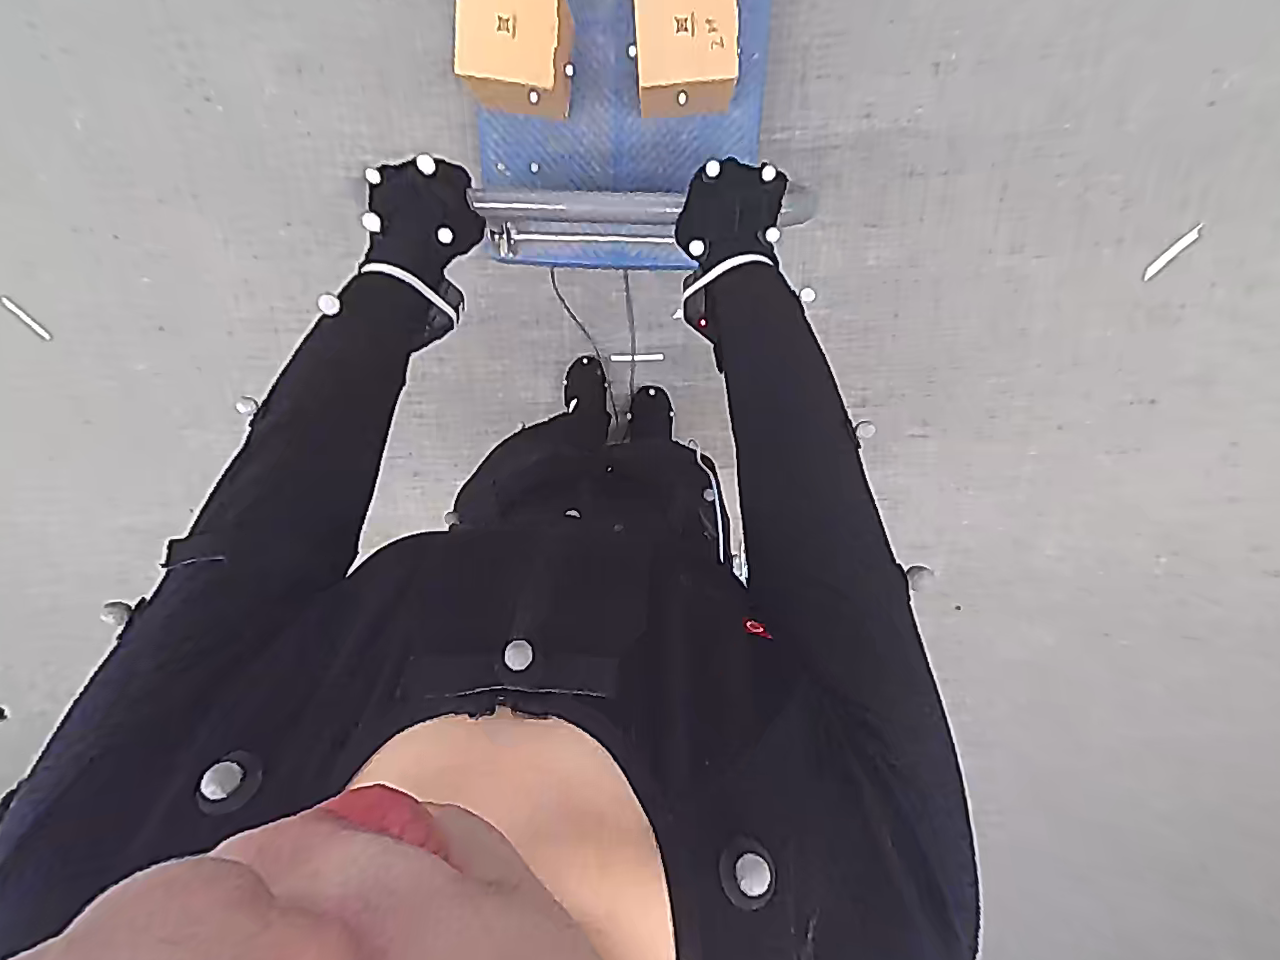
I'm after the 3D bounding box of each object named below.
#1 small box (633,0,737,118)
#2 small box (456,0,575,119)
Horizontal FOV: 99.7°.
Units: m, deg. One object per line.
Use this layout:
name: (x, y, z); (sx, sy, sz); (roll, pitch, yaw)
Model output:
small box: (0.081, -0.792, 0.998); (0.179, 0.176, 0.168); (-3, 107, 3)
small box: (-0.225, -0.800, 1.006); (0.179, 0.176, 0.168); (7, 106, -2)
